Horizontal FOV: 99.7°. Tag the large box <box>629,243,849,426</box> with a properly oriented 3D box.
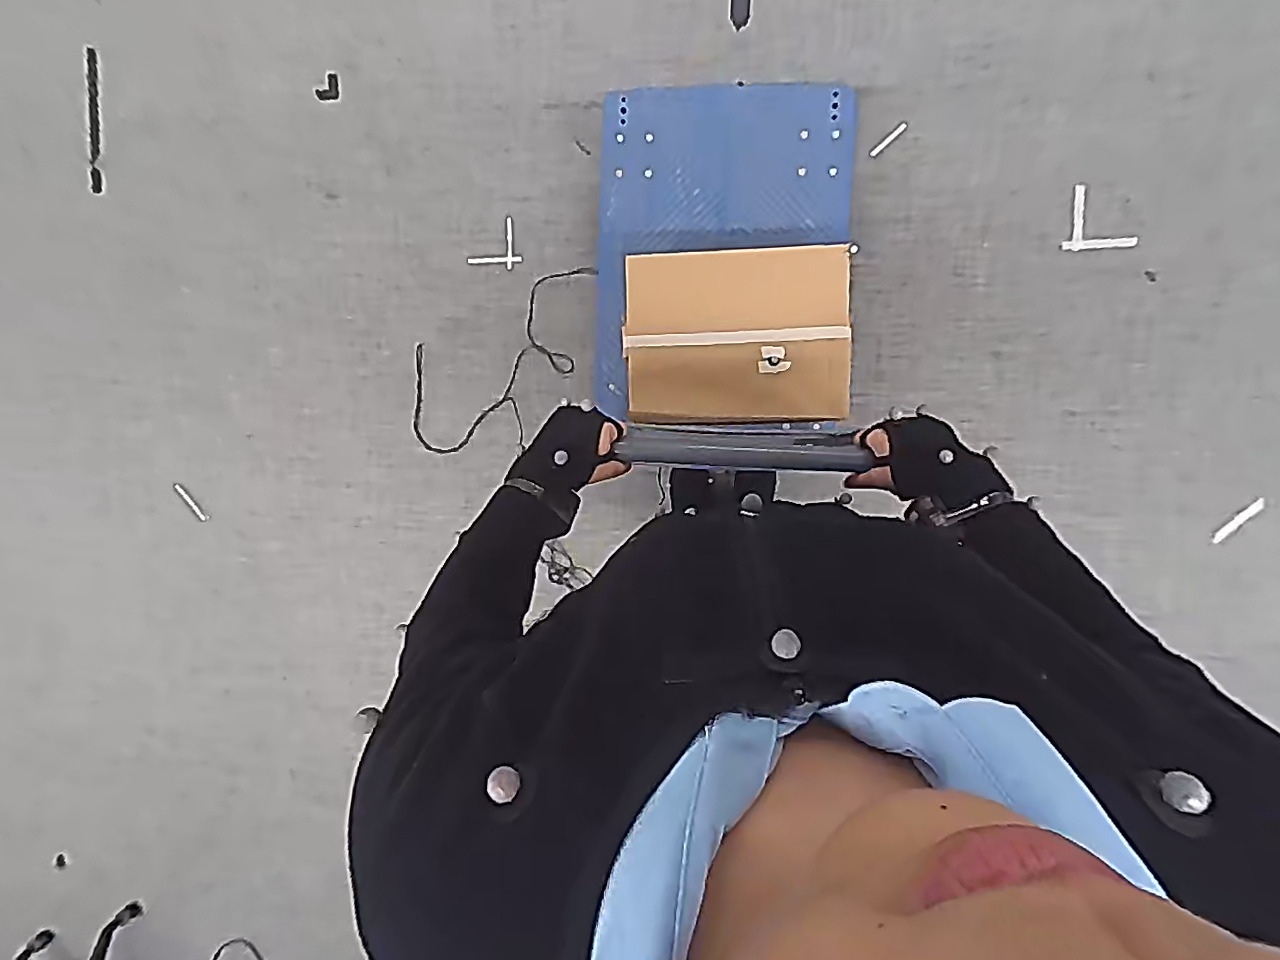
[{"bbox_3d":[0.193,-0.281,1.153,0.408,0.320,0.320,-1,95,5],"label":"large box"}]
